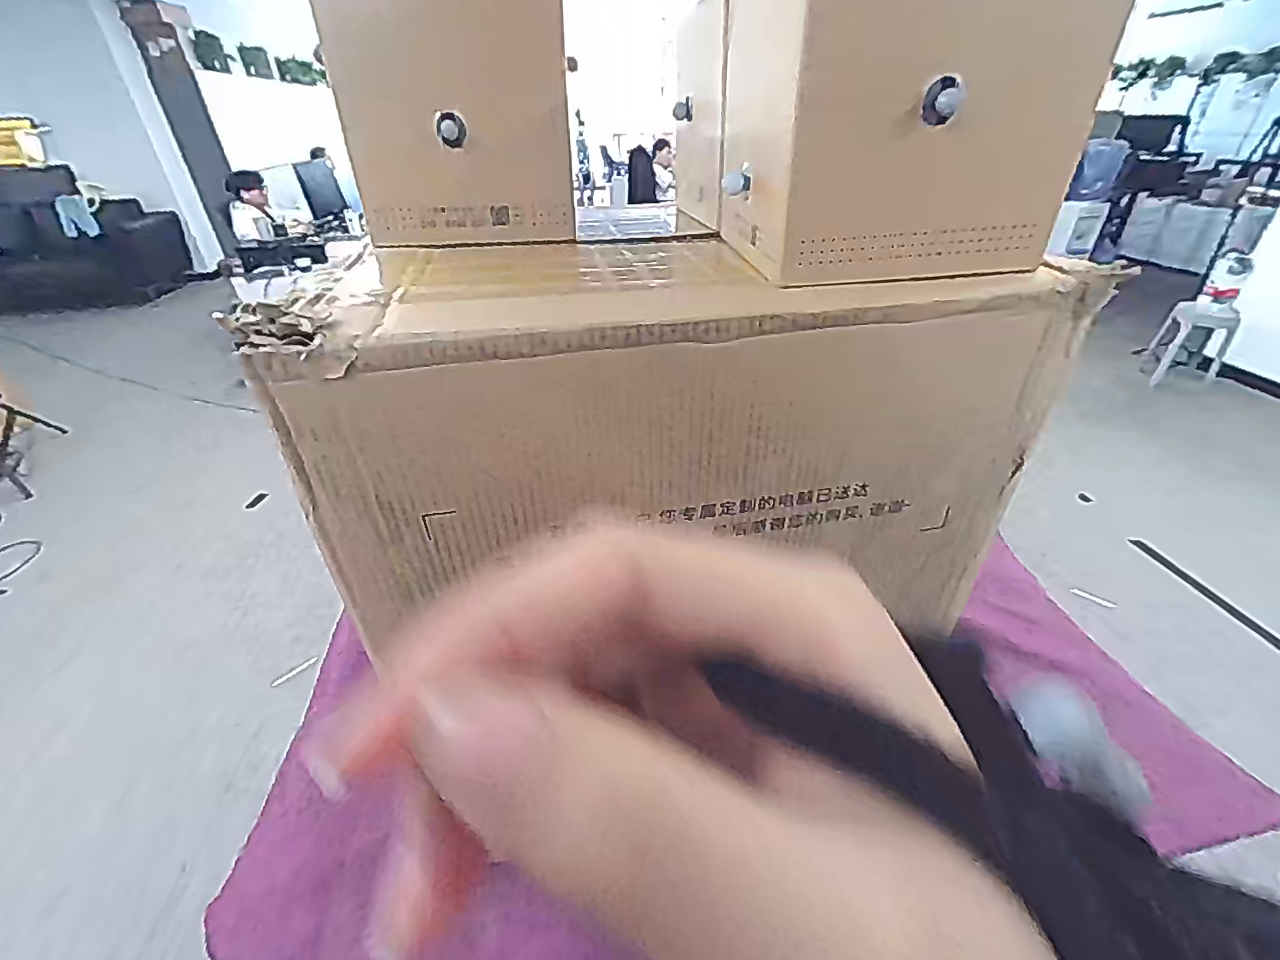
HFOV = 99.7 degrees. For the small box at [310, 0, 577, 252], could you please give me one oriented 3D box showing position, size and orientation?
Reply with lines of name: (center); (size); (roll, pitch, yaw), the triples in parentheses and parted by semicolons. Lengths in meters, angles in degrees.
small box: (-0.146, -0.301, 0.469); (0.168, 0.176, 0.179); (-5, 34, -8)
